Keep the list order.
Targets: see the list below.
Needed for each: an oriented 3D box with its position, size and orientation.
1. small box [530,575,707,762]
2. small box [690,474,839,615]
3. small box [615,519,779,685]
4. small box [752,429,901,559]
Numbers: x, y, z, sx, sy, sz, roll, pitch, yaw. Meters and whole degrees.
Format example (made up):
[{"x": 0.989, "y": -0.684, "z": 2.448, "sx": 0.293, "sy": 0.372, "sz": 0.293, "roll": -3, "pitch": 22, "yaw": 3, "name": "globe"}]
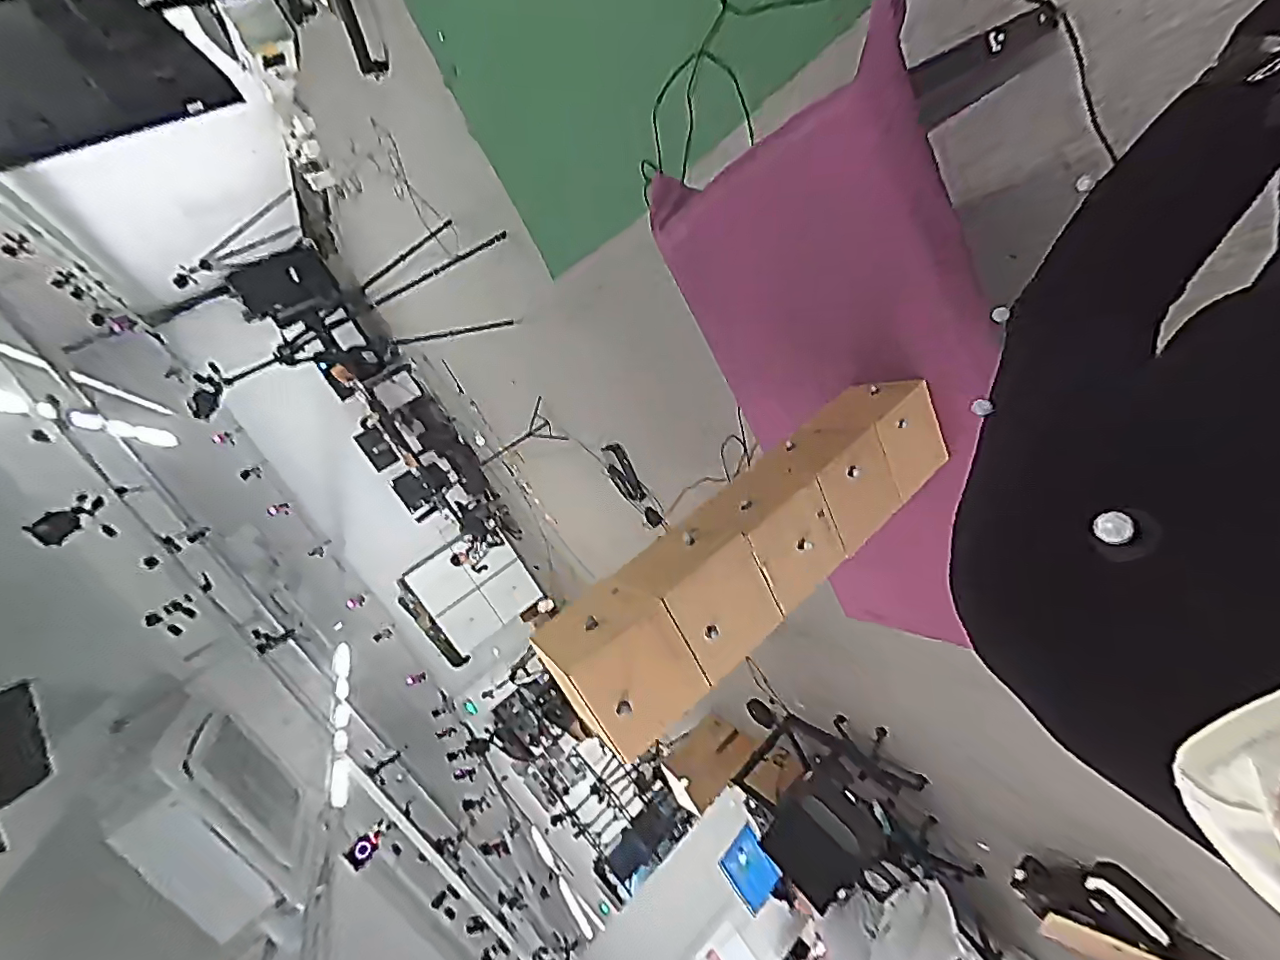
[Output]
[{"x": -0.031, "y": 0.269, "z": 0.817, "sx": 0.168, "sy": 0.176, "sz": 0.179, "roll": 6, "pitch": 127, "yaw": 61, "name": "small box"}, {"x": 0.220, "y": 0.101, "z": 0.942, "sx": 0.179, "sy": 0.176, "sz": 0.168, "roll": 7, "pitch": 128, "yaw": 60, "name": "small box"}, {"x": 0.095, "y": 0.188, "z": 0.880, "sx": 0.168, "sy": 0.176, "sz": 0.179, "roll": 5, "pitch": 125, "yaw": 62, "name": "small box"}, {"x": 0.346, "y": 0.015, "z": 1.000, "sx": 0.168, "sy": 0.176, "sz": 0.179, "roll": 8, "pitch": 129, "yaw": 60, "name": "small box"}]
